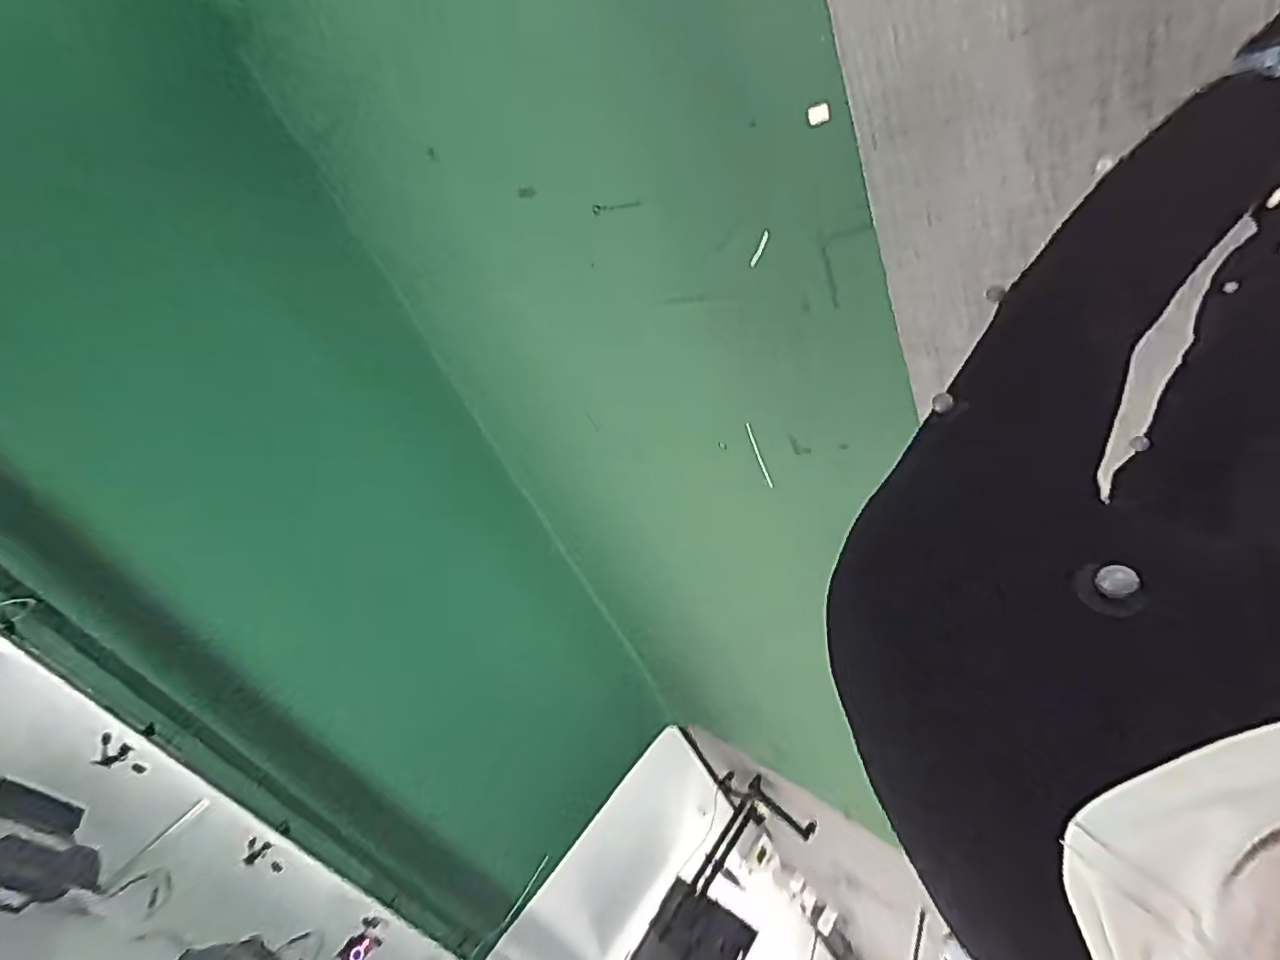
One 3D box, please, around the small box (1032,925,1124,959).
[{"bbox_3d":[1.088,1.235,1.306,0.168,0.176,0.179,44,151,4],"label":"small box"}]
